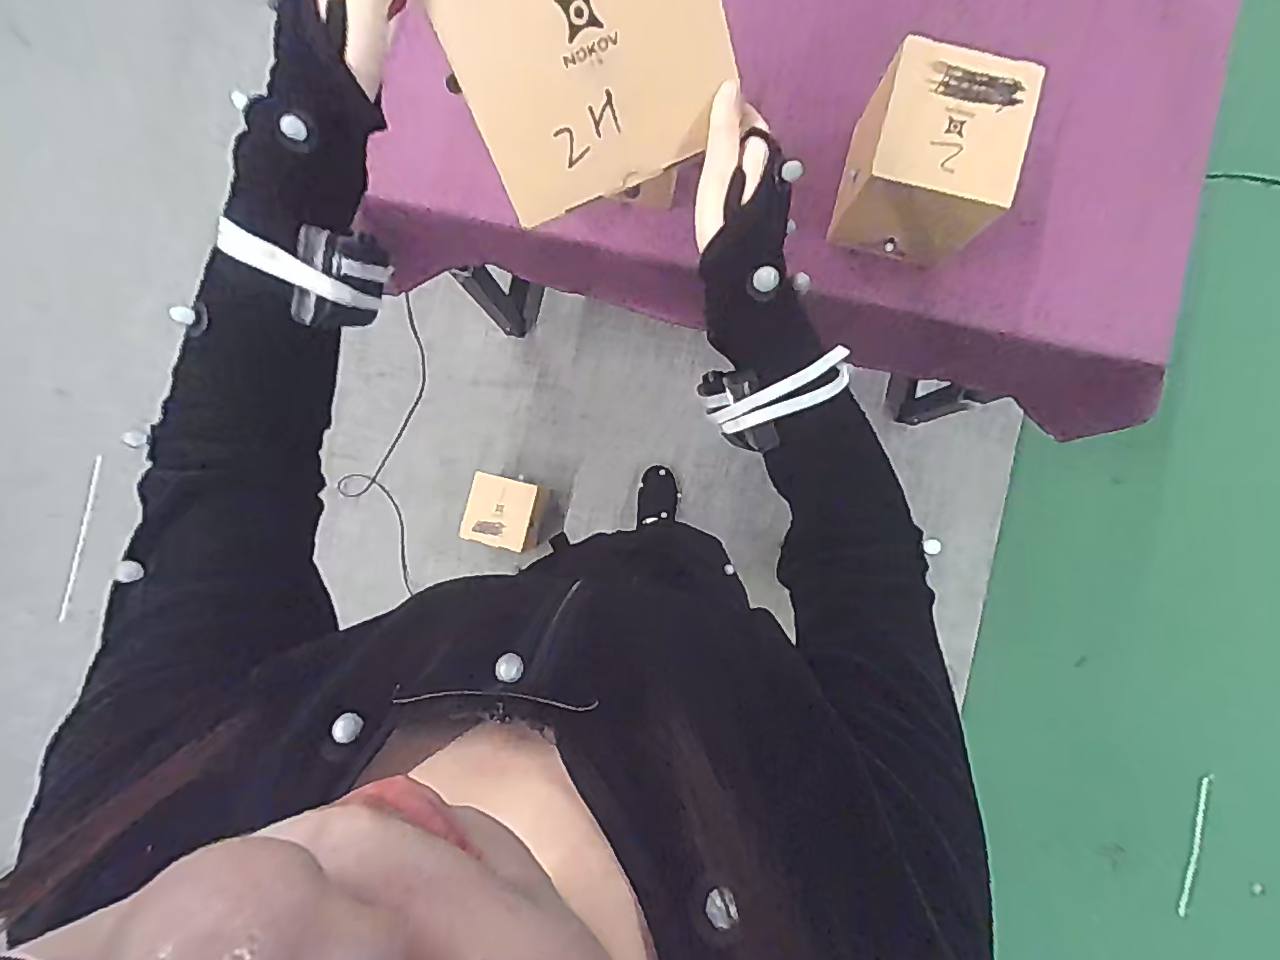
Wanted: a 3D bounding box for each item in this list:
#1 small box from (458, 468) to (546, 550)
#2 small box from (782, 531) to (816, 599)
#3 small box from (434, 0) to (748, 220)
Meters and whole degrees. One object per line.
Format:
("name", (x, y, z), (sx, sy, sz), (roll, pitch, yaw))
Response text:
("small box", (-0.359, 0.076, 1.438), (0.168, 0.176, 0.179), (14, 87, 1))
("small box", (0.485, 0.231, 1.417), (0.179, 0.176, 0.168), (11, 89, 1))
("small box", (-0.034, -0.317, 0.396), (0.168, 0.176, 0.179), (-18, 122, 10))
